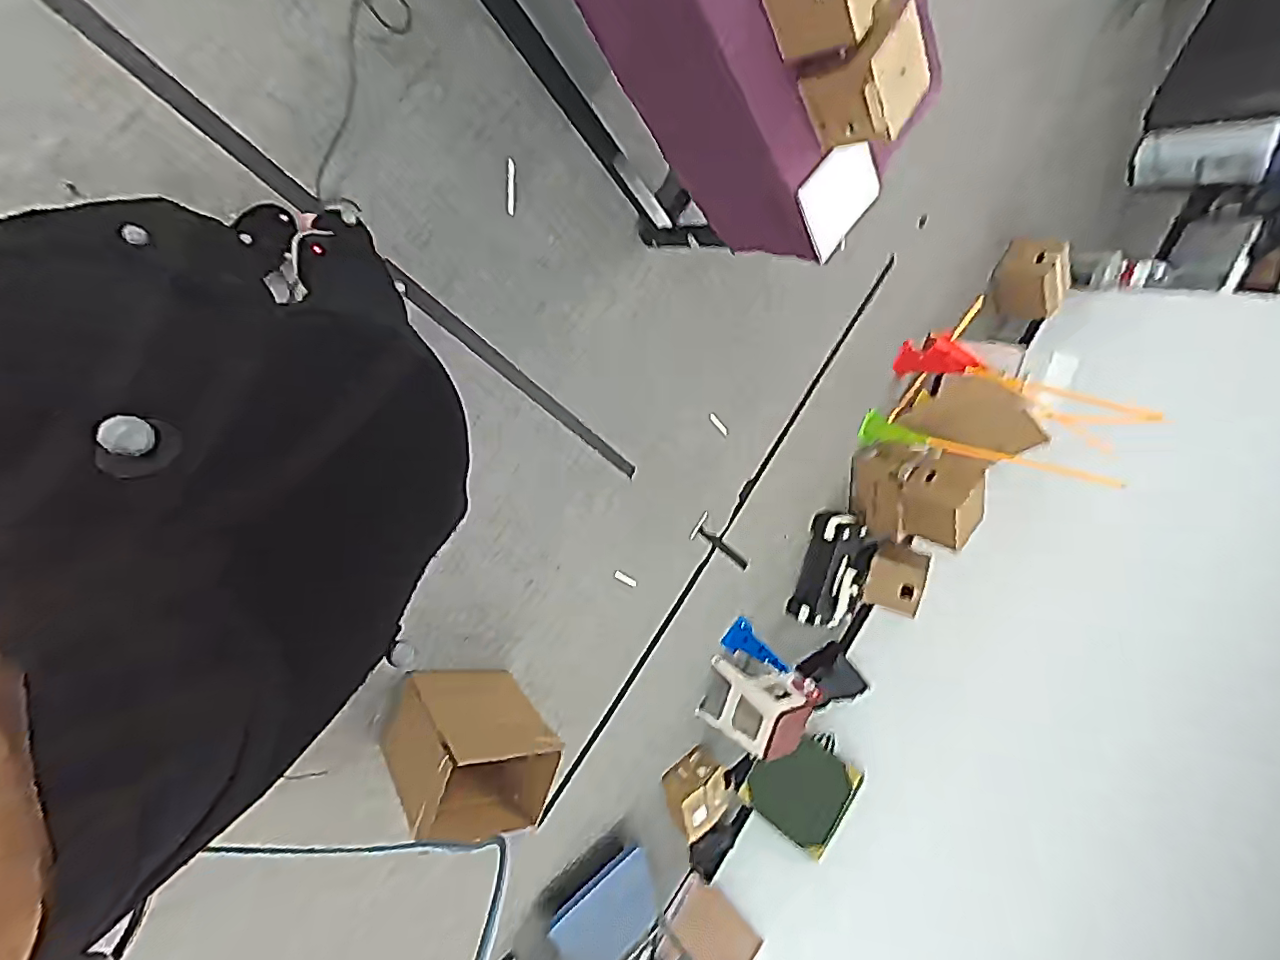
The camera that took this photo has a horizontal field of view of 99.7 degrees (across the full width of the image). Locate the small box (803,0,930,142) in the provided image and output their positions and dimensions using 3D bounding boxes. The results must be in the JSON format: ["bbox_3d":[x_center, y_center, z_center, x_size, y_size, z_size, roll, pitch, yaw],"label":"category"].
[{"bbox_3d":[0.464,-0.842,1.125,0.168,0.176,0.179,40,81,-43],"label":"small box"}]
